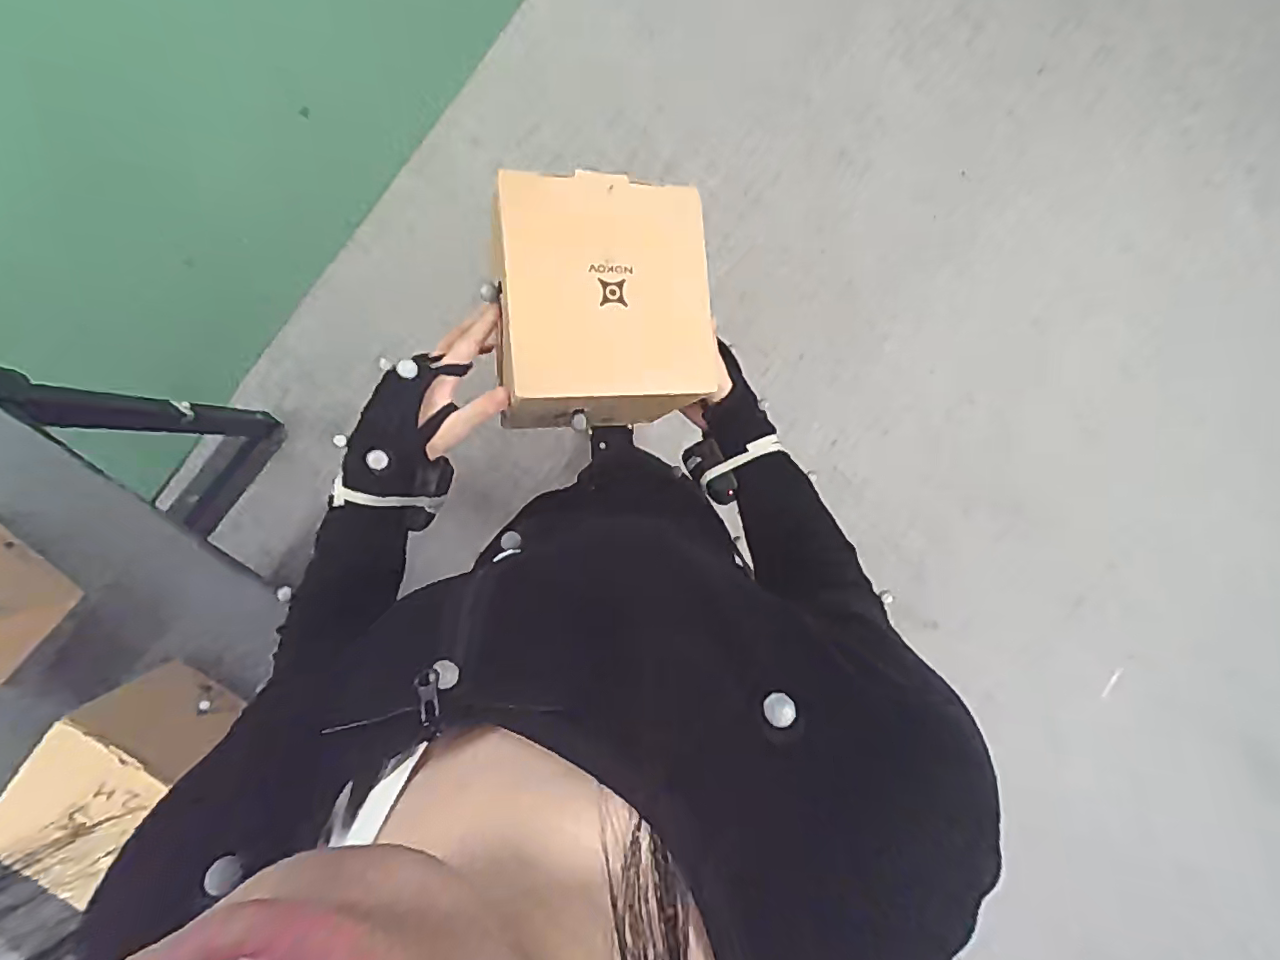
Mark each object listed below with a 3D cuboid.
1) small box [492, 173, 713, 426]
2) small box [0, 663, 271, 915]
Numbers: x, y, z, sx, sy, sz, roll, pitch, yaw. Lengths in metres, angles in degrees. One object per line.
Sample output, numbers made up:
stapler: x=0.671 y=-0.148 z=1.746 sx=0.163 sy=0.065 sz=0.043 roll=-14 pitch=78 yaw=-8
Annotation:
small box: x=-0.046 y=-0.148 z=0.504 sx=0.168 sy=0.176 sz=0.179 roll=-5 pitch=87 yaw=-17
small box: x=-0.622 y=0.371 z=0.682 sx=0.168 sy=0.176 sz=0.179 roll=37 pitch=91 yaw=-5
